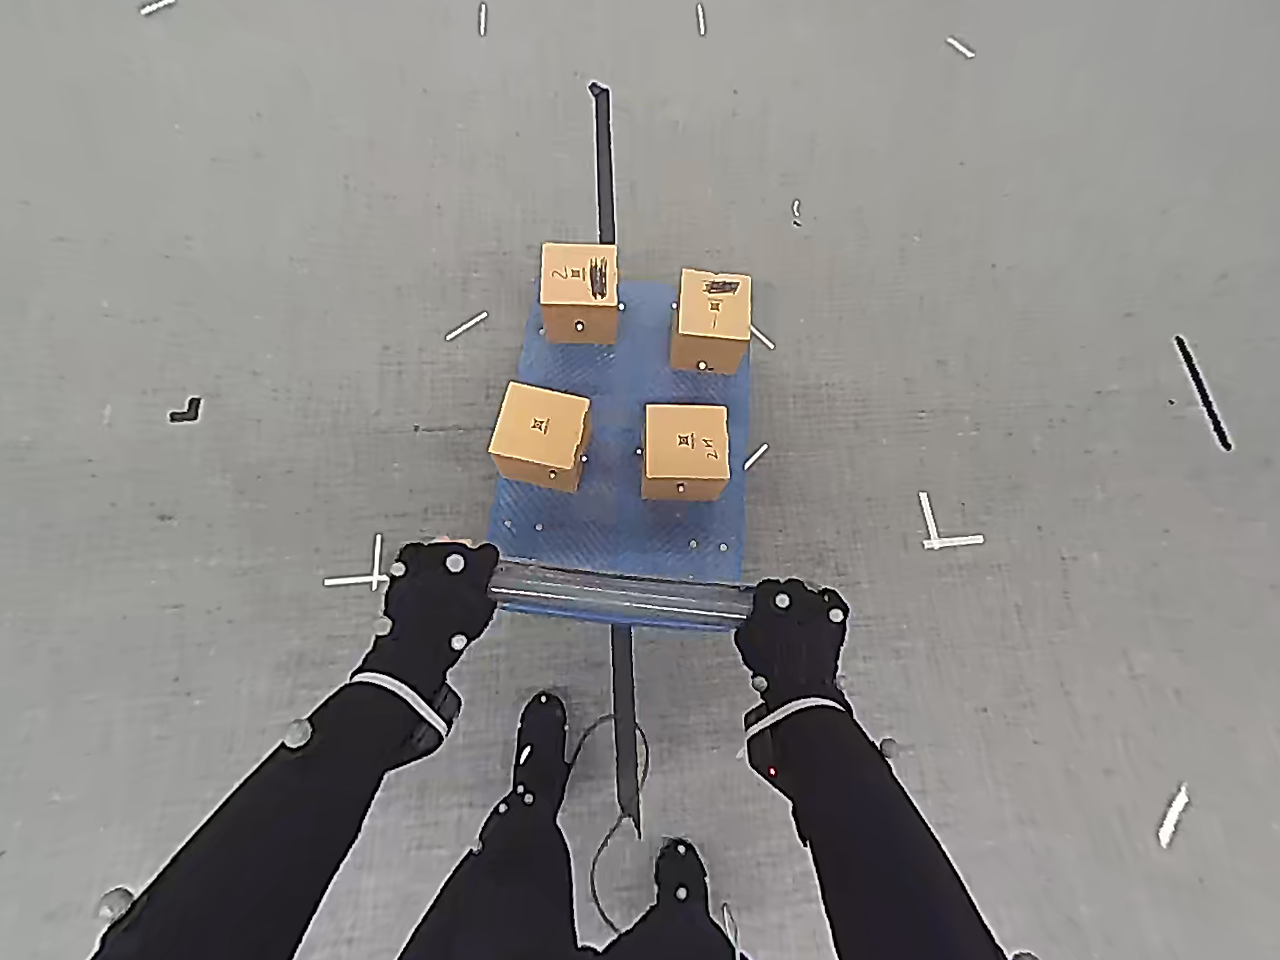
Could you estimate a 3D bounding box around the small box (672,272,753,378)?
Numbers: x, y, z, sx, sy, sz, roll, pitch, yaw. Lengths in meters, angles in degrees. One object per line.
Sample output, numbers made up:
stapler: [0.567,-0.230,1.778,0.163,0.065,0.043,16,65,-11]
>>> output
small box: [0.172,-0.371,1.315,0.168,0.176,0.179,6,73,-2]

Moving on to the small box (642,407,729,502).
small box: [0.095,-0.051,1.210,0.179,0.176,0.168,2,73,-3]

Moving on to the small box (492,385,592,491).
small box: [-0.209,-0.085,1.199,0.179,0.176,0.168,13,72,-1]
